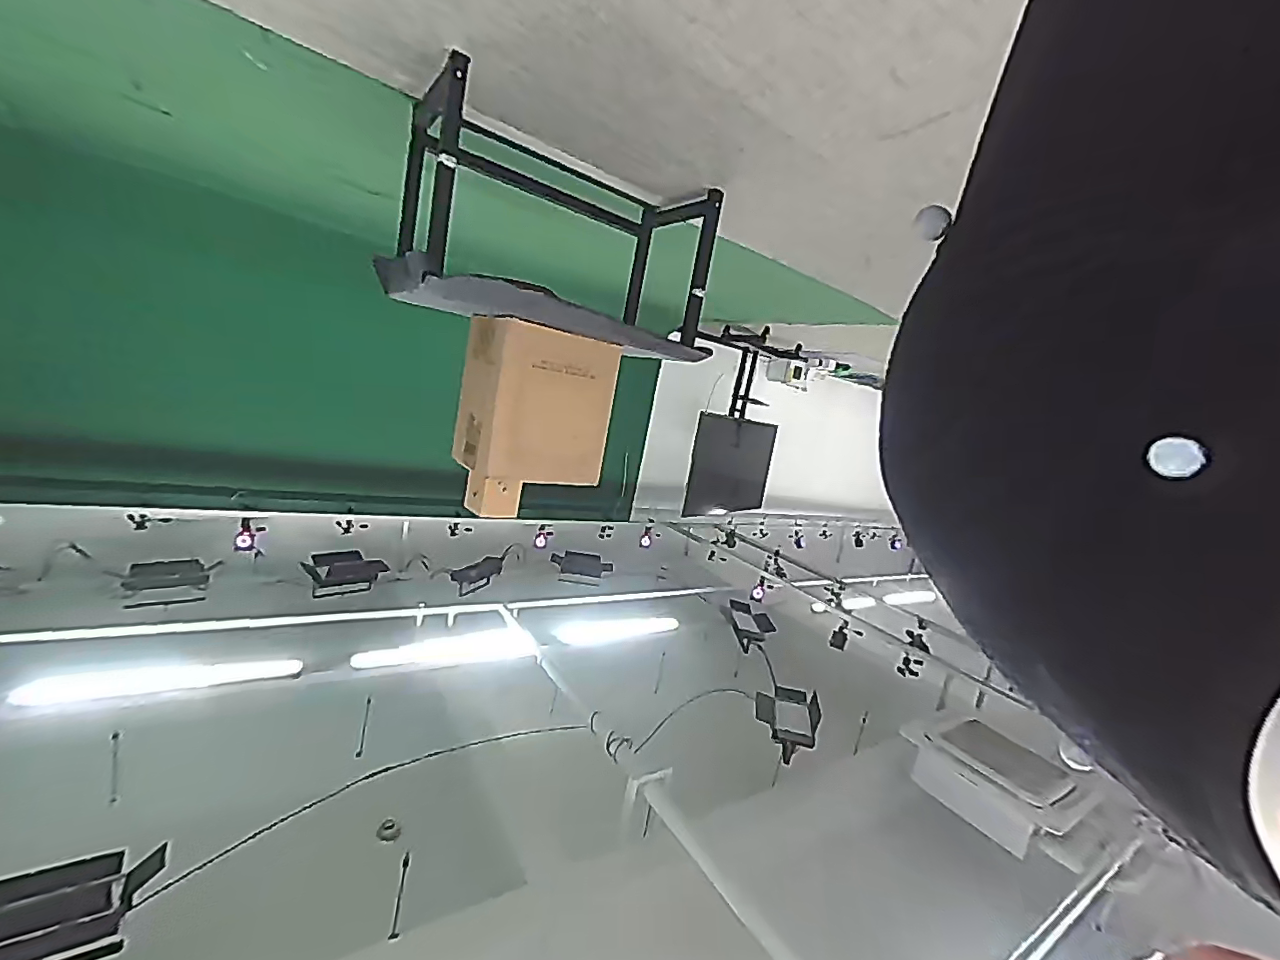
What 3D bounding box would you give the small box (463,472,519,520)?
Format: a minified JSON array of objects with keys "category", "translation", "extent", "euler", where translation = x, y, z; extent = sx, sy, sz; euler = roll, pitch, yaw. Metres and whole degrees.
[{"category":"small box","translation":[-0.627,0.063,2.280],"extent":[0.168,0.176,0.179],"euler":[6,-172,-41]}]
